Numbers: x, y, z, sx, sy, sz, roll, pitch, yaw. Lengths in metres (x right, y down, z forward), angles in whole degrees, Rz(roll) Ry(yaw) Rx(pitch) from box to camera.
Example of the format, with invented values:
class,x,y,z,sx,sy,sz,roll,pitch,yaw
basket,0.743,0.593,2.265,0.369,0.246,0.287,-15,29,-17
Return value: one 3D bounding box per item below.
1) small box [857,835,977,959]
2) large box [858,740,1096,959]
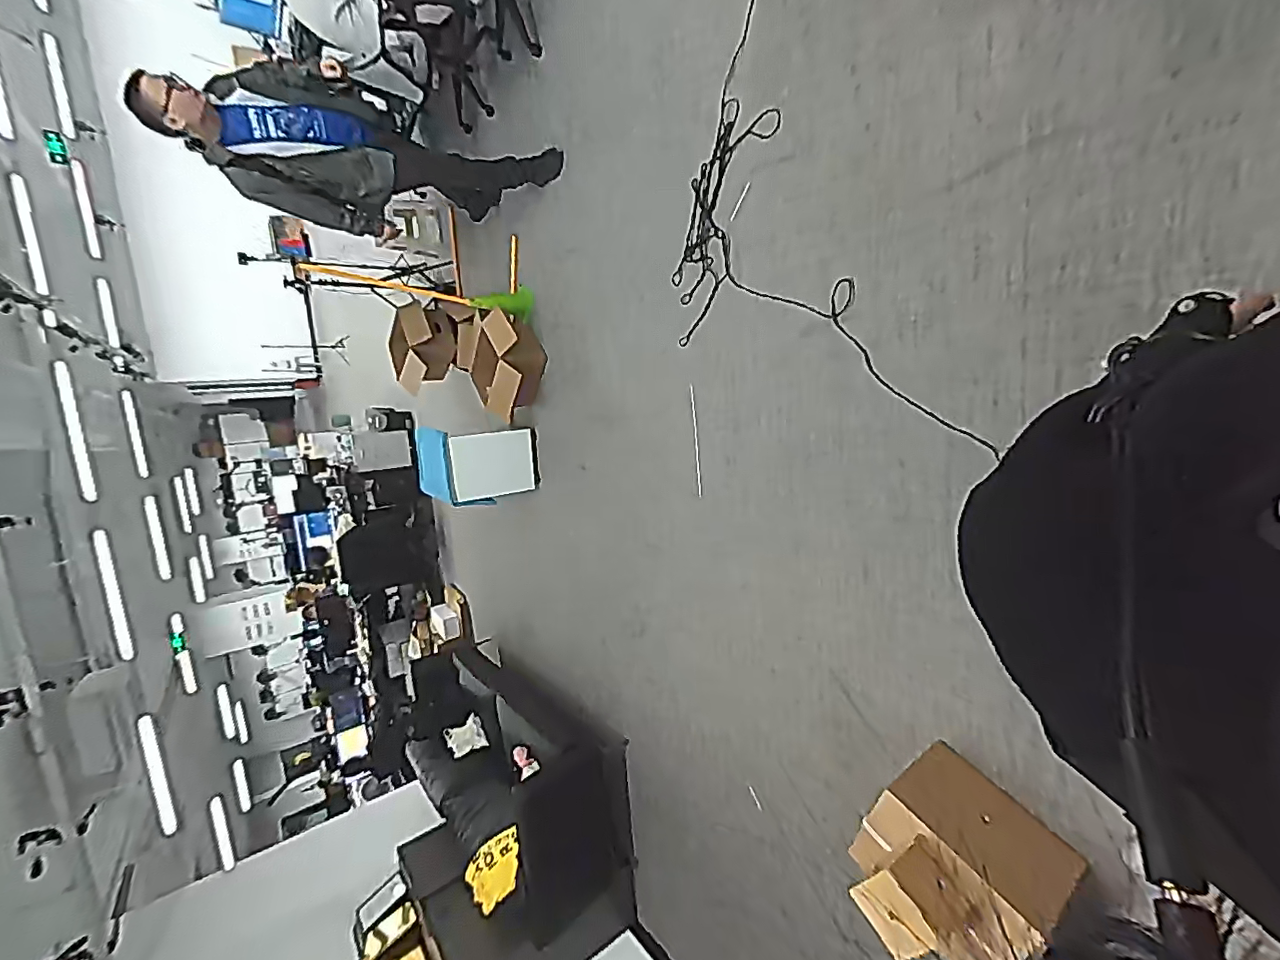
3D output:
class,x,y,z,sx,sy,sz,roll,pitch,yaw
small box,0.685,1.025,1.335,0.168,0.176,0.179,51,135,34
large box,0.892,1.015,1.468,0.408,0.320,0.320,37,128,42
